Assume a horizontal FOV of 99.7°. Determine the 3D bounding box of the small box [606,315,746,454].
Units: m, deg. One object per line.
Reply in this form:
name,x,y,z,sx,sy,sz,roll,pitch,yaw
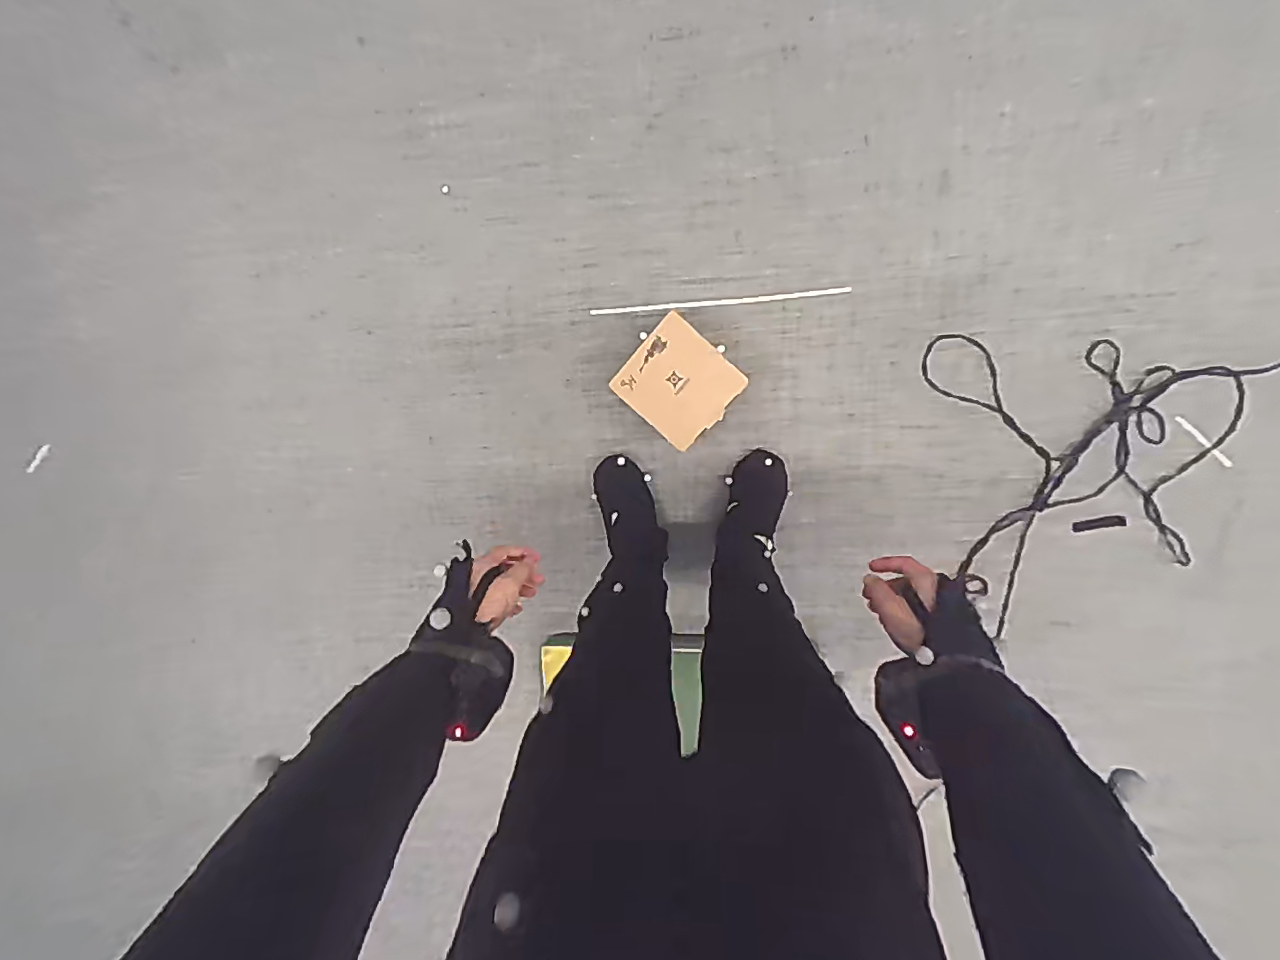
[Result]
small box,0.067,-0.175,0.971,0.179,0.176,0.168,42,104,-5
